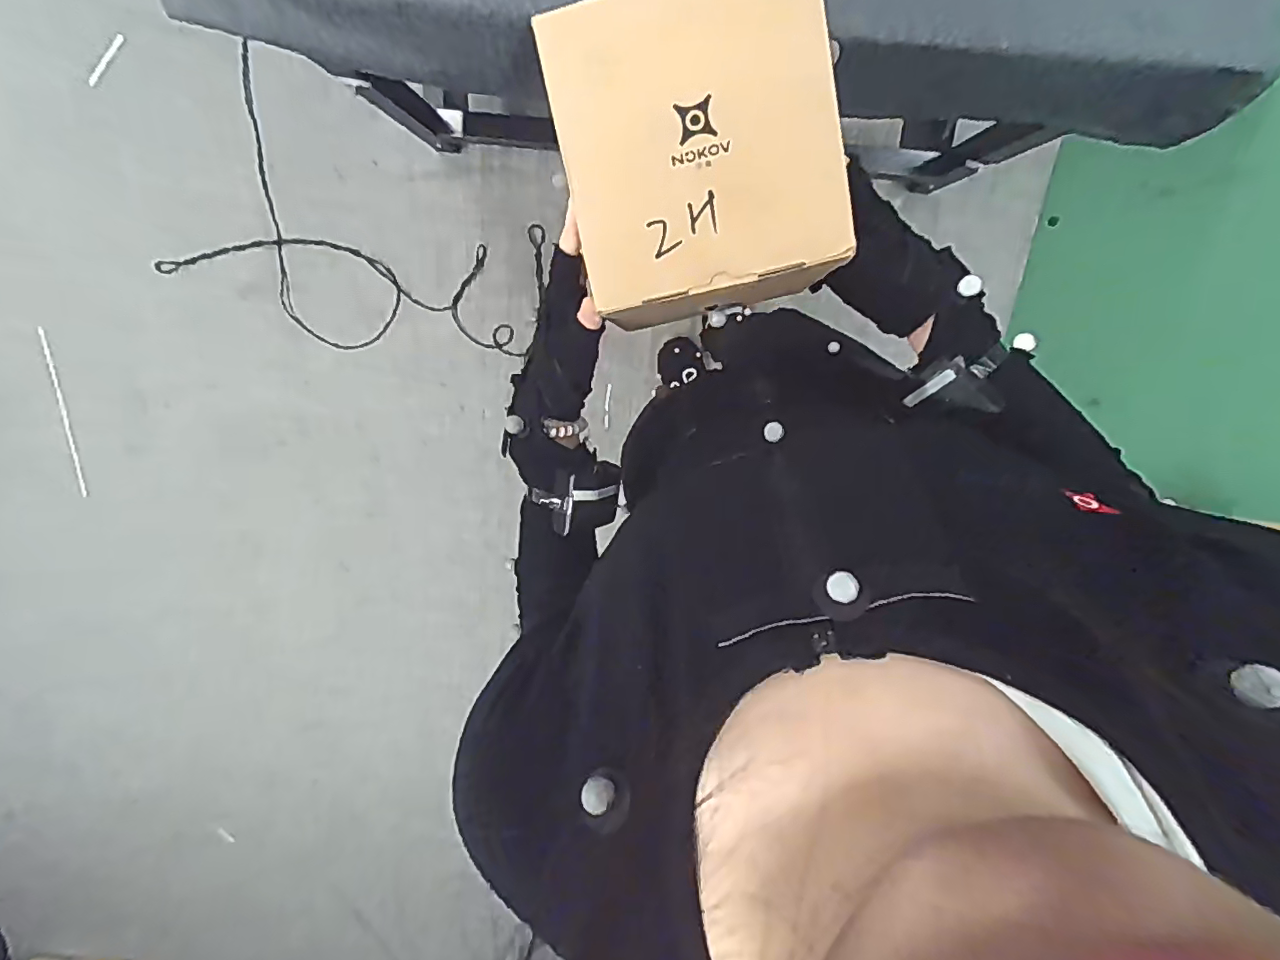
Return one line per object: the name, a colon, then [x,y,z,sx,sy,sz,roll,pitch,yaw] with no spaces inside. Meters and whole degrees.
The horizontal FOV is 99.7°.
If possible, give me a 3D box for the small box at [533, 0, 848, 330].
small box: [0.038,-0.220,0.401,0.168,0.176,0.179,-11,101,8]
